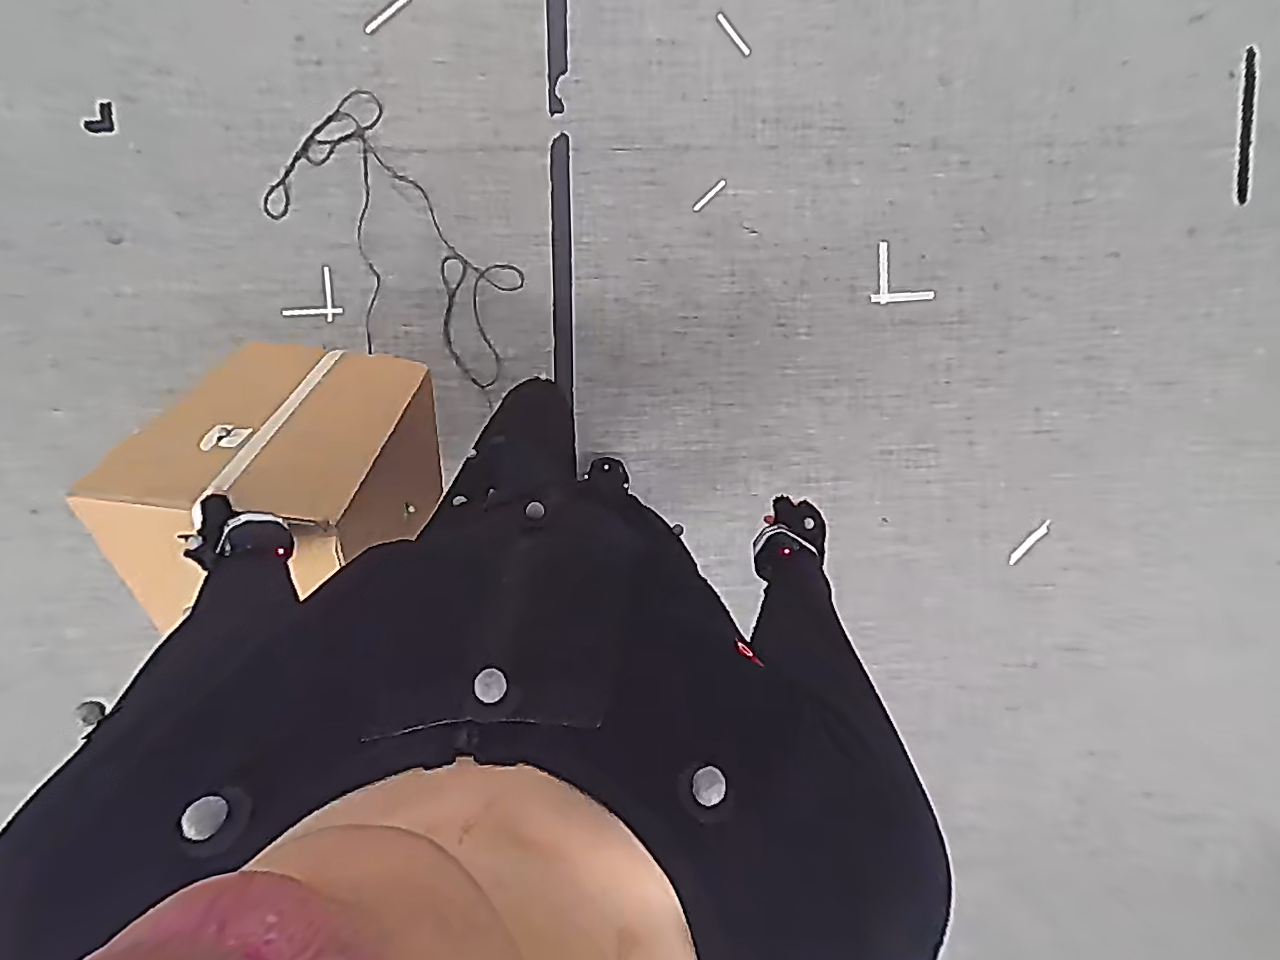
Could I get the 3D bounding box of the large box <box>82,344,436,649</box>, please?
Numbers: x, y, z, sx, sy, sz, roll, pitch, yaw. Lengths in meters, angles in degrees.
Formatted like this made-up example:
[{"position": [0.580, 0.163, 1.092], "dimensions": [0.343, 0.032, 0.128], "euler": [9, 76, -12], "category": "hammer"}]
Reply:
[{"position": [-0.560, 0.020, 0.917], "dimensions": [0.320, 0.408, 0.320], "euler": [6, 132, -6], "category": "large box"}]
